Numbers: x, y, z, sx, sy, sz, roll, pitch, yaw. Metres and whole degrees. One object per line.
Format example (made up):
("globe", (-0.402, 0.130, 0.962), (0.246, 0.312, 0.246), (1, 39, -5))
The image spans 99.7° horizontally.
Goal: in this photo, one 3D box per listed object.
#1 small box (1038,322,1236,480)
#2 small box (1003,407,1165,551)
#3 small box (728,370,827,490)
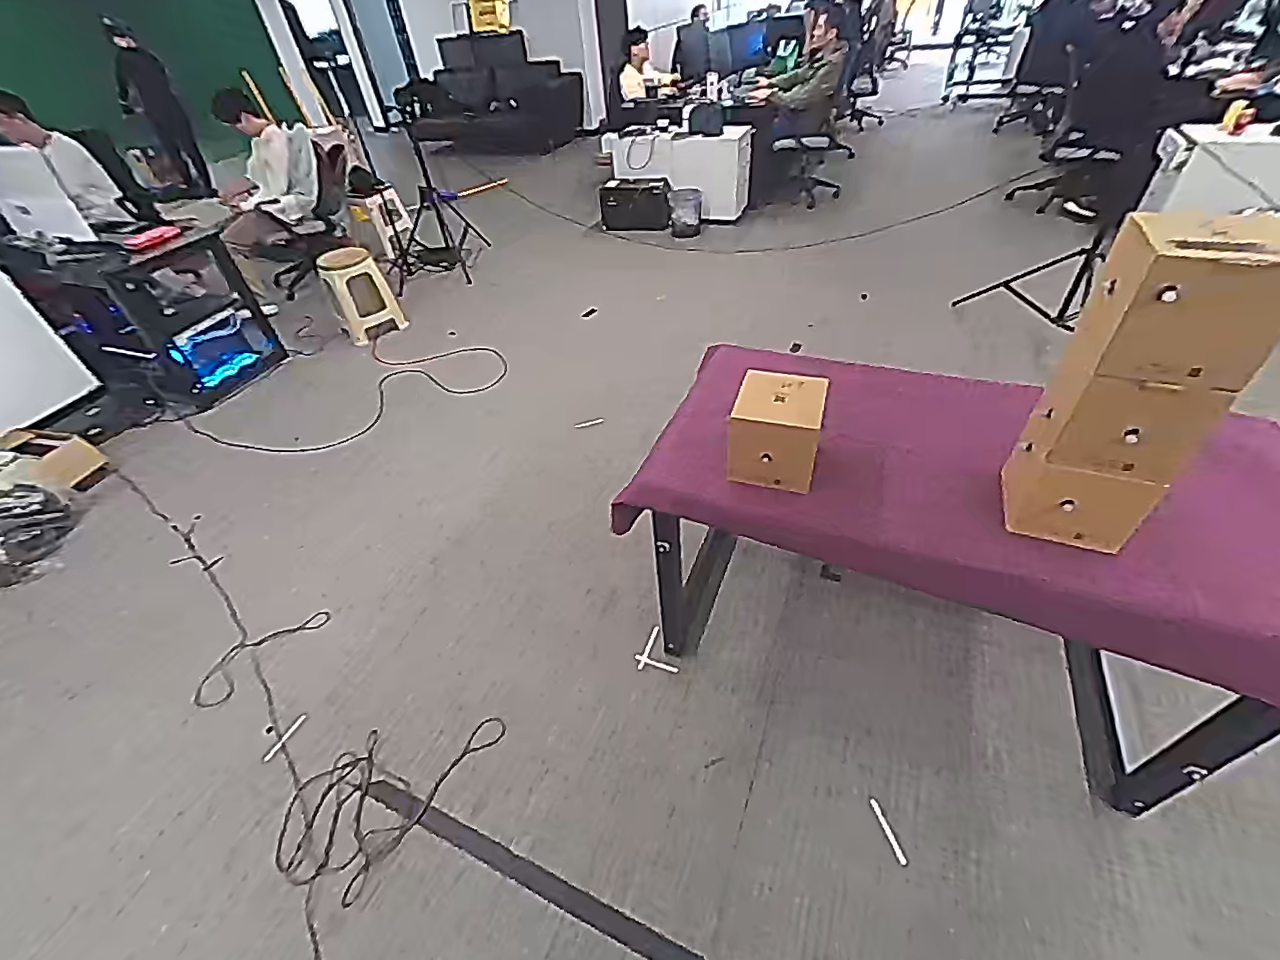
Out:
("small box", (0.755, -0.125, 0.848), (0.168, 0.176, 0.179), (14, 46, 21))
("small box", (0.765, -0.002, 0.957), (0.168, 0.176, 0.179), (13, 46, 20))
("small box", (0.280, -0.102, 1.112), (0.168, 0.176, 0.179), (11, 45, 16))
